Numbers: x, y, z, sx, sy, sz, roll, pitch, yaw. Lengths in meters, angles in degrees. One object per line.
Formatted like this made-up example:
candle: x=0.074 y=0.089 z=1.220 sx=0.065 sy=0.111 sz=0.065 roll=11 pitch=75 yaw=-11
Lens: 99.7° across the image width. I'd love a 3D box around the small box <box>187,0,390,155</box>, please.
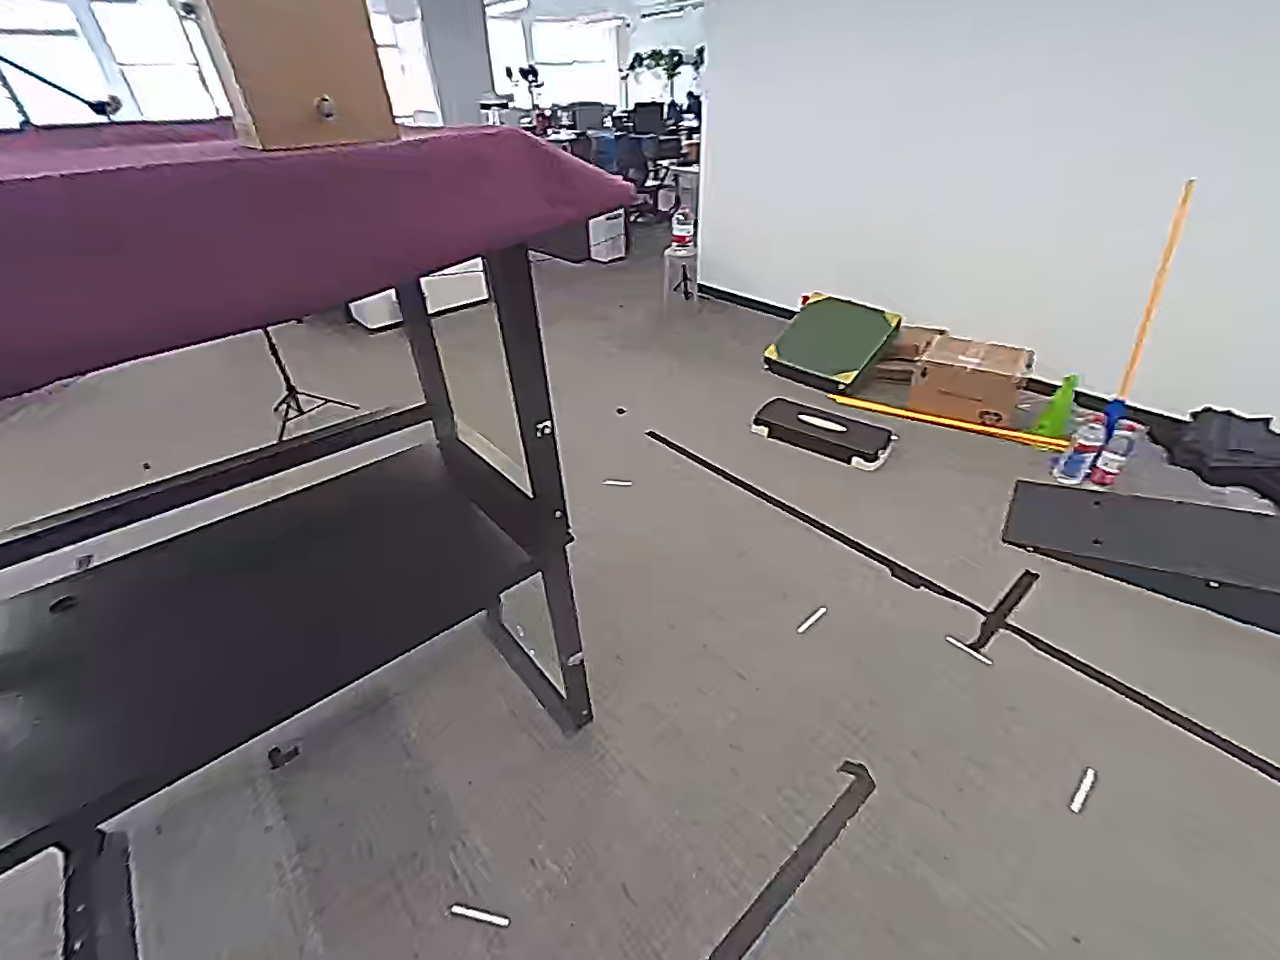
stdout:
small box: x=-0.451 y=-0.537 z=0.712 sx=0.179 sy=0.176 sz=0.168 roll=-26 pitch=41 yaw=-30
